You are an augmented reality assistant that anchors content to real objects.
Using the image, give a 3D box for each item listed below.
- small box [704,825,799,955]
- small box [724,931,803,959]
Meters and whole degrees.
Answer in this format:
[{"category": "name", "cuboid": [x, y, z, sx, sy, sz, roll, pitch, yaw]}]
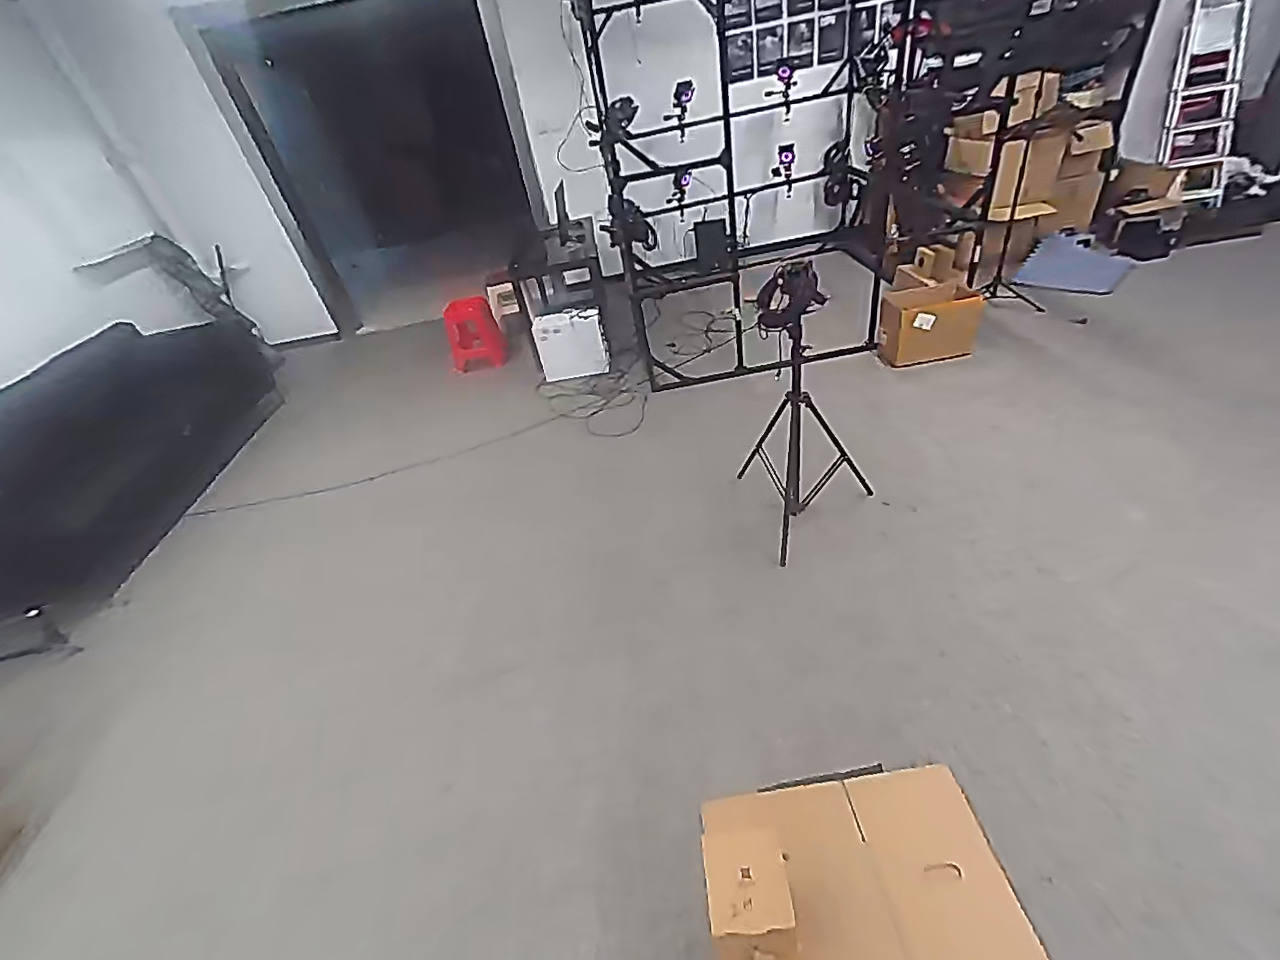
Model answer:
[{"category": "small box", "cuboid": [0.230, 0.861, 1.137, 0.168, 0.176, 0.179, -9, 38, 6]}, {"category": "small box", "cuboid": [0.269, 0.992, 1.230, 0.168, 0.176, 0.179, -9, 38, 4]}]
